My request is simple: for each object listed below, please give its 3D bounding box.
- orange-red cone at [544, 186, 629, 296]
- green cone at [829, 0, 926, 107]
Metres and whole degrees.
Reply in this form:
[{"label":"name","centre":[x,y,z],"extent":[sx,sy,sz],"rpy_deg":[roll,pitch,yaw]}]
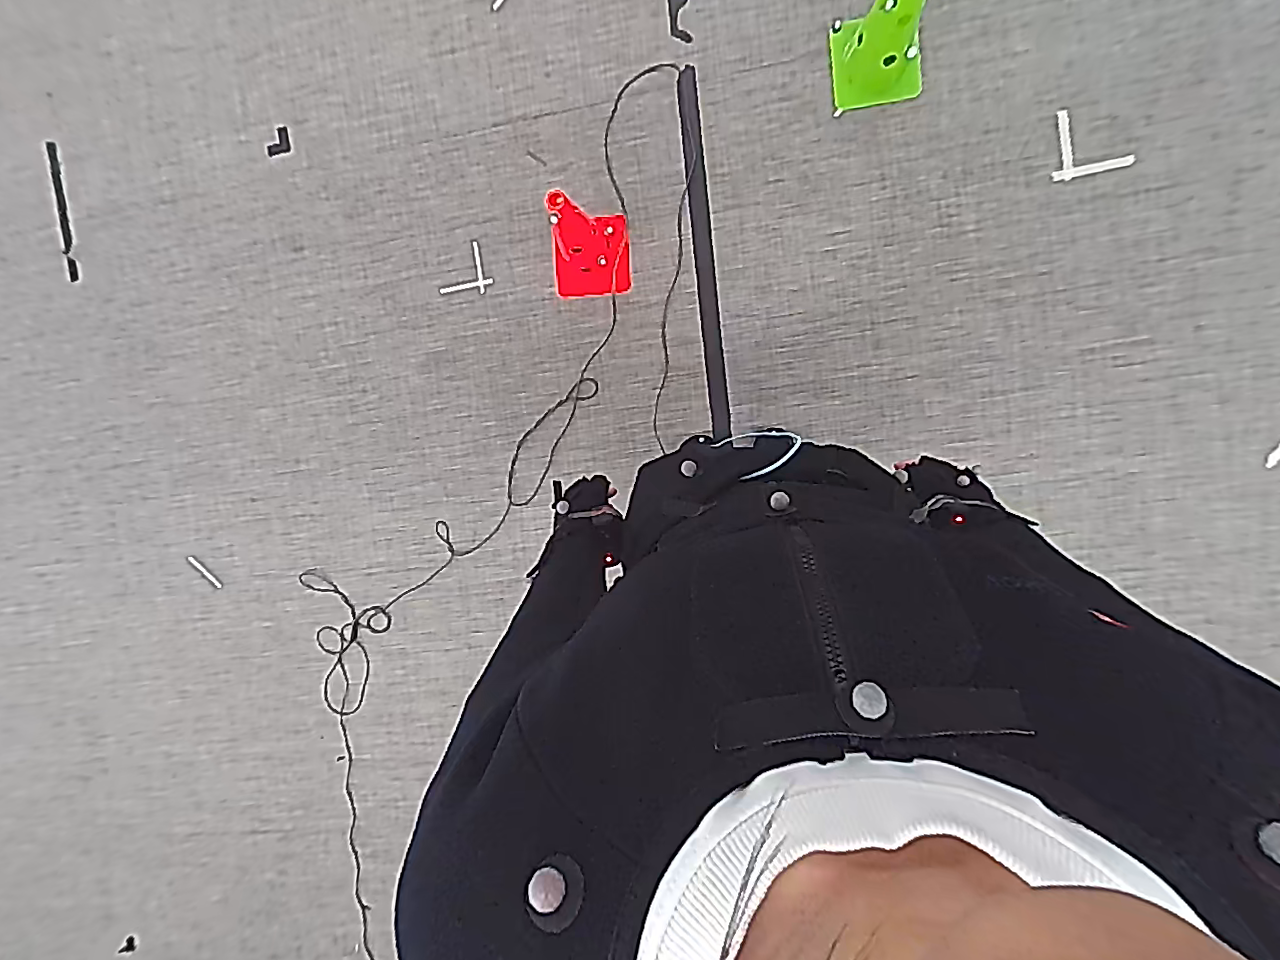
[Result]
[{"label":"orange-red cone","centre":[-0.151,-0.572,1.239],"extent":[0.199,0.360,0.198],"rpy_deg":[-2,94,8]},{"label":"green cone","centre":[0.539,-0.985,1.113],"extent":[0.202,0.368,0.200],"rpy_deg":[-6,94,6]}]
